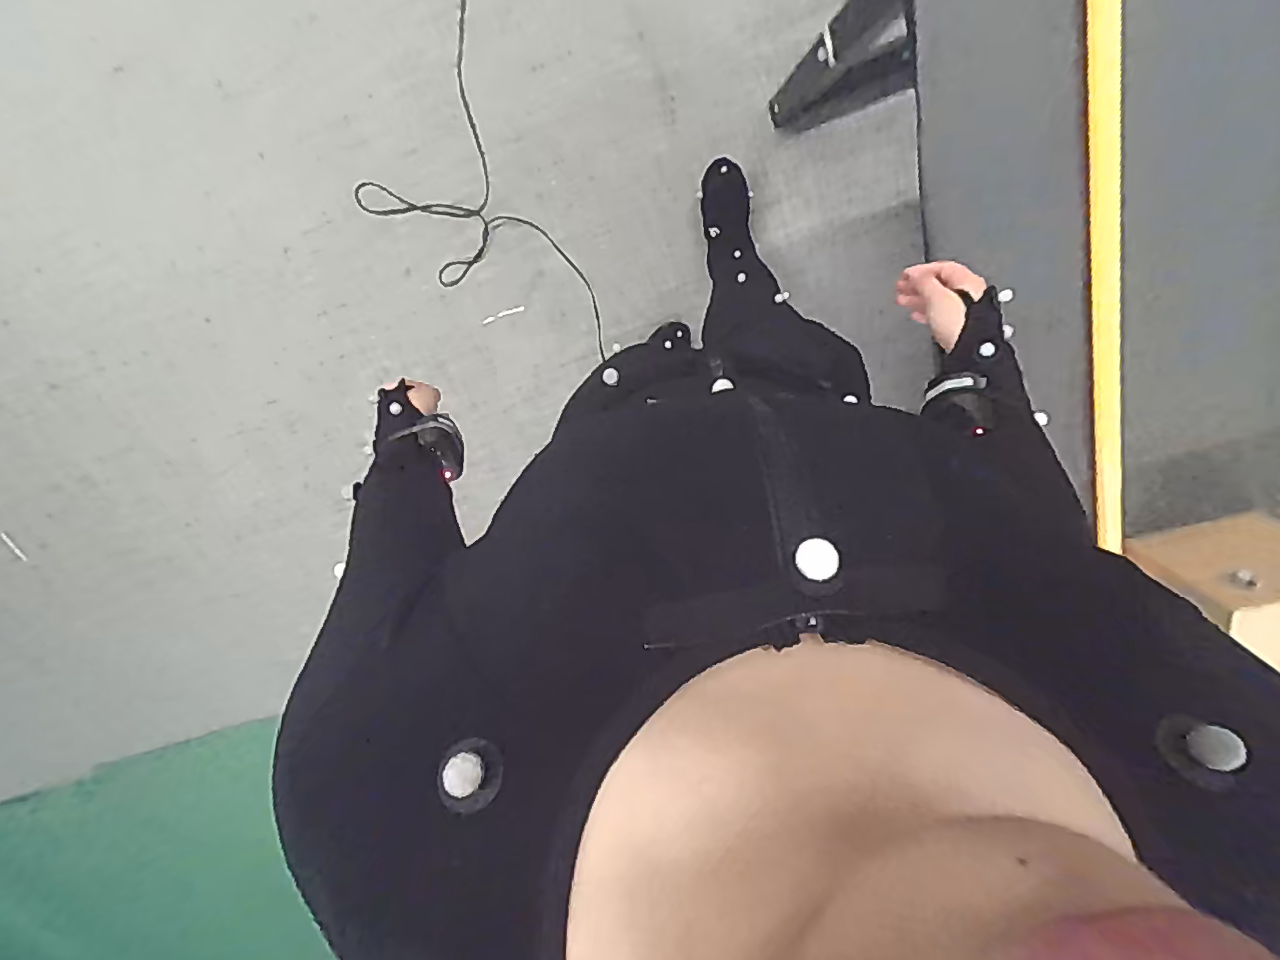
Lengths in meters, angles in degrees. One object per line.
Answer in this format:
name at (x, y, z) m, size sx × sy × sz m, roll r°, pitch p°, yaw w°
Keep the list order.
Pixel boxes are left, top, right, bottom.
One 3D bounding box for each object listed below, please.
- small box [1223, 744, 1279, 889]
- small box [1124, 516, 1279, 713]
small box at (0.863, 0.433, 0.641) m, size 0.168 × 0.176 × 0.179 m, roll -13°, pitch 112°, yaw 8°
small box at (0.792, 0.169, 0.713) m, size 0.179 × 0.176 × 0.168 m, roll -15°, pitch 112°, yaw 7°
